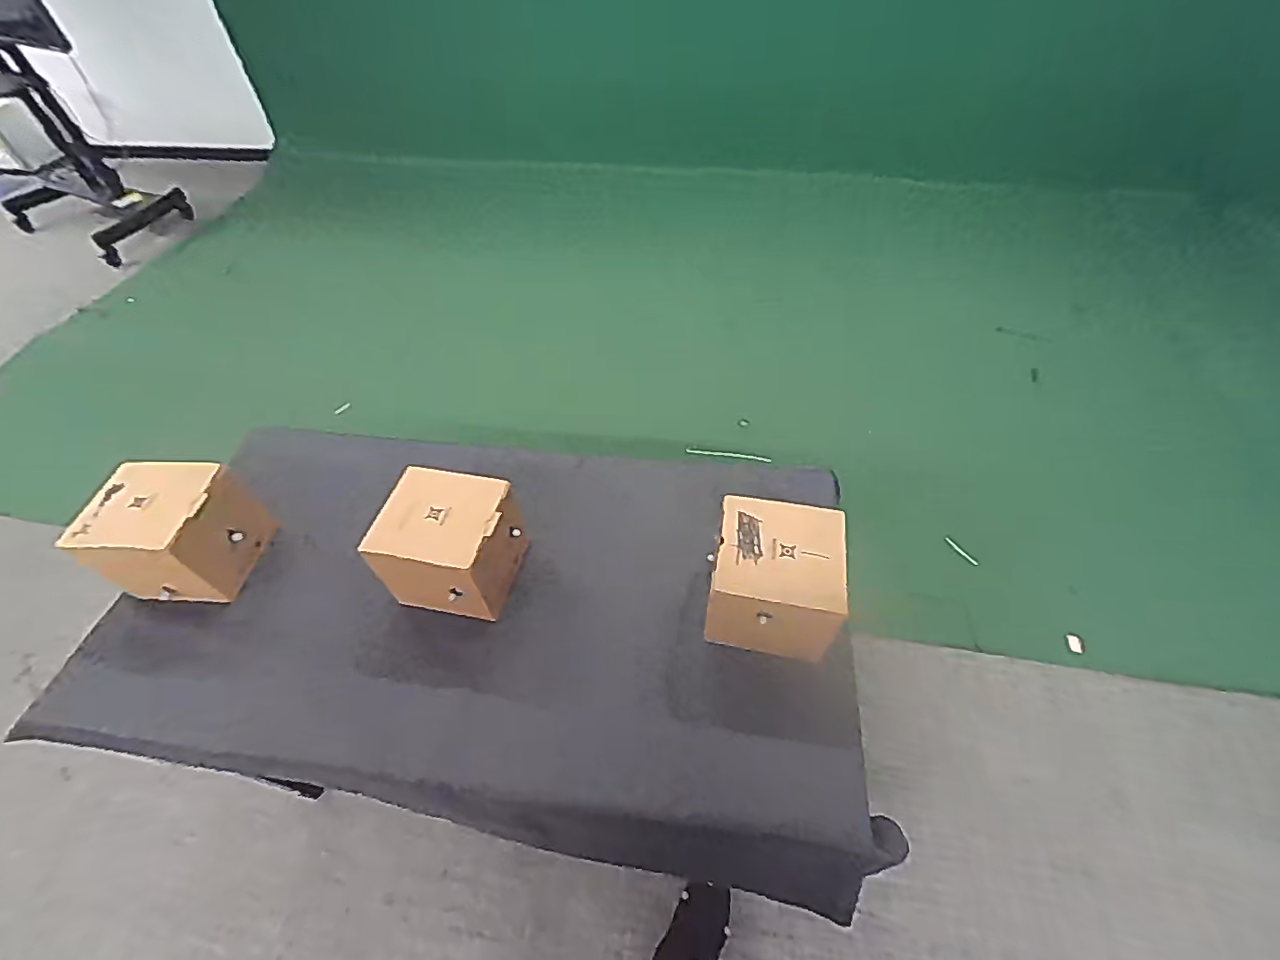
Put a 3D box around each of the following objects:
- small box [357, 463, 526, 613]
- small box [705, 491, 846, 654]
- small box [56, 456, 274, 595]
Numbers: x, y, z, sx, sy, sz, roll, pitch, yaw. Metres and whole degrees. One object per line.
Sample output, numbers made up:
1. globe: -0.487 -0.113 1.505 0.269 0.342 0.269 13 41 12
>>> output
1. small box: -0.300 0.097 0.866 0.179 0.176 0.168 7 50 9
2. small box: 0.196 0.140 0.805 0.179 0.176 0.168 9 52 9
3. small box: -0.761 0.080 0.896 0.179 0.176 0.168 2 51 3
